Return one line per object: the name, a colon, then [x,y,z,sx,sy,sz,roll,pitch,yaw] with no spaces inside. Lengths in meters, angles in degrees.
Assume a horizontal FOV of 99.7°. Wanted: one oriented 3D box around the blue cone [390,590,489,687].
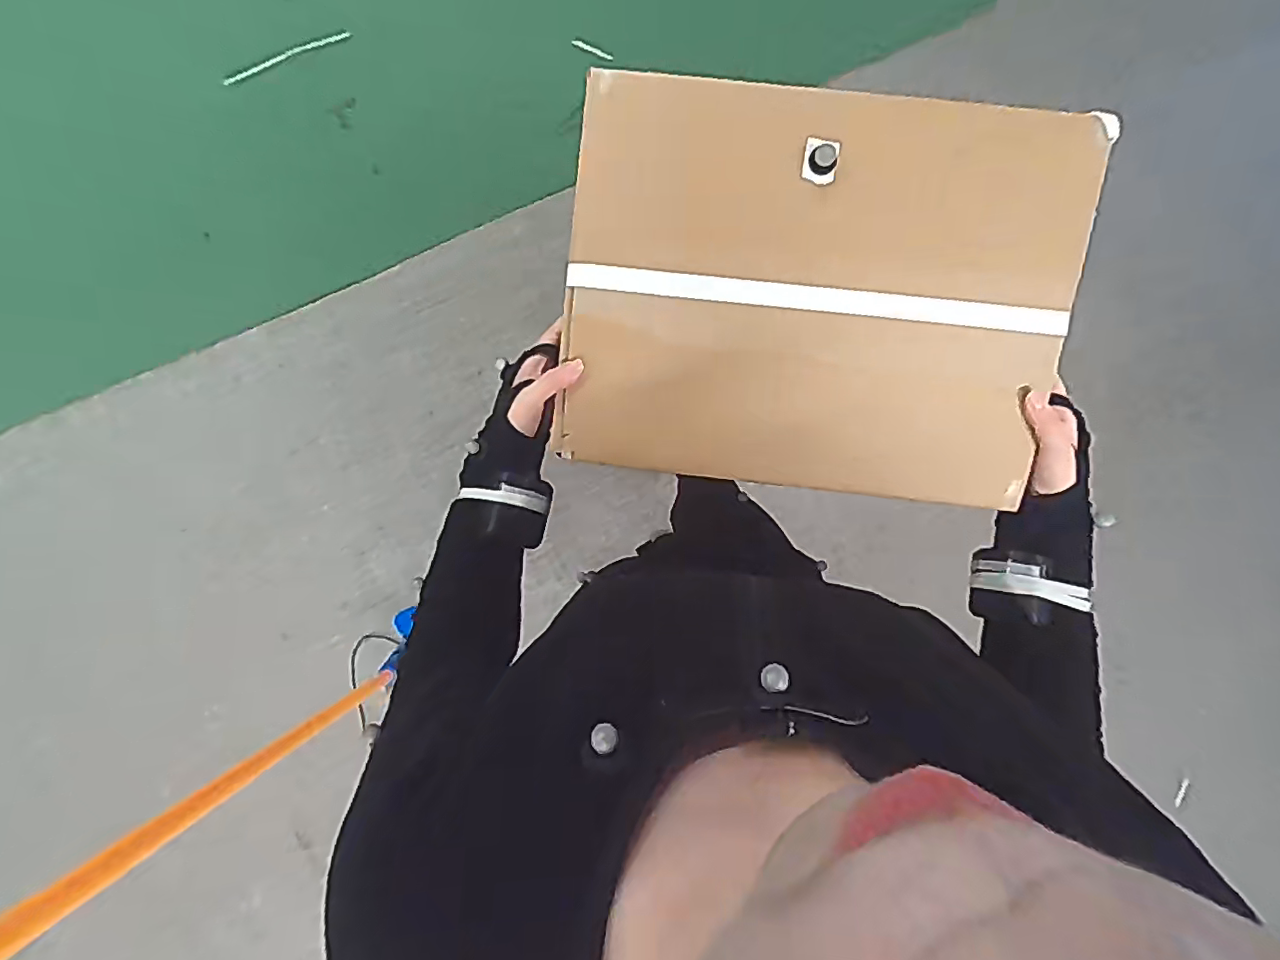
blue cone: [-0.506,0.398,1.271,0.193,0.380,0.192,-28,90,-5]
